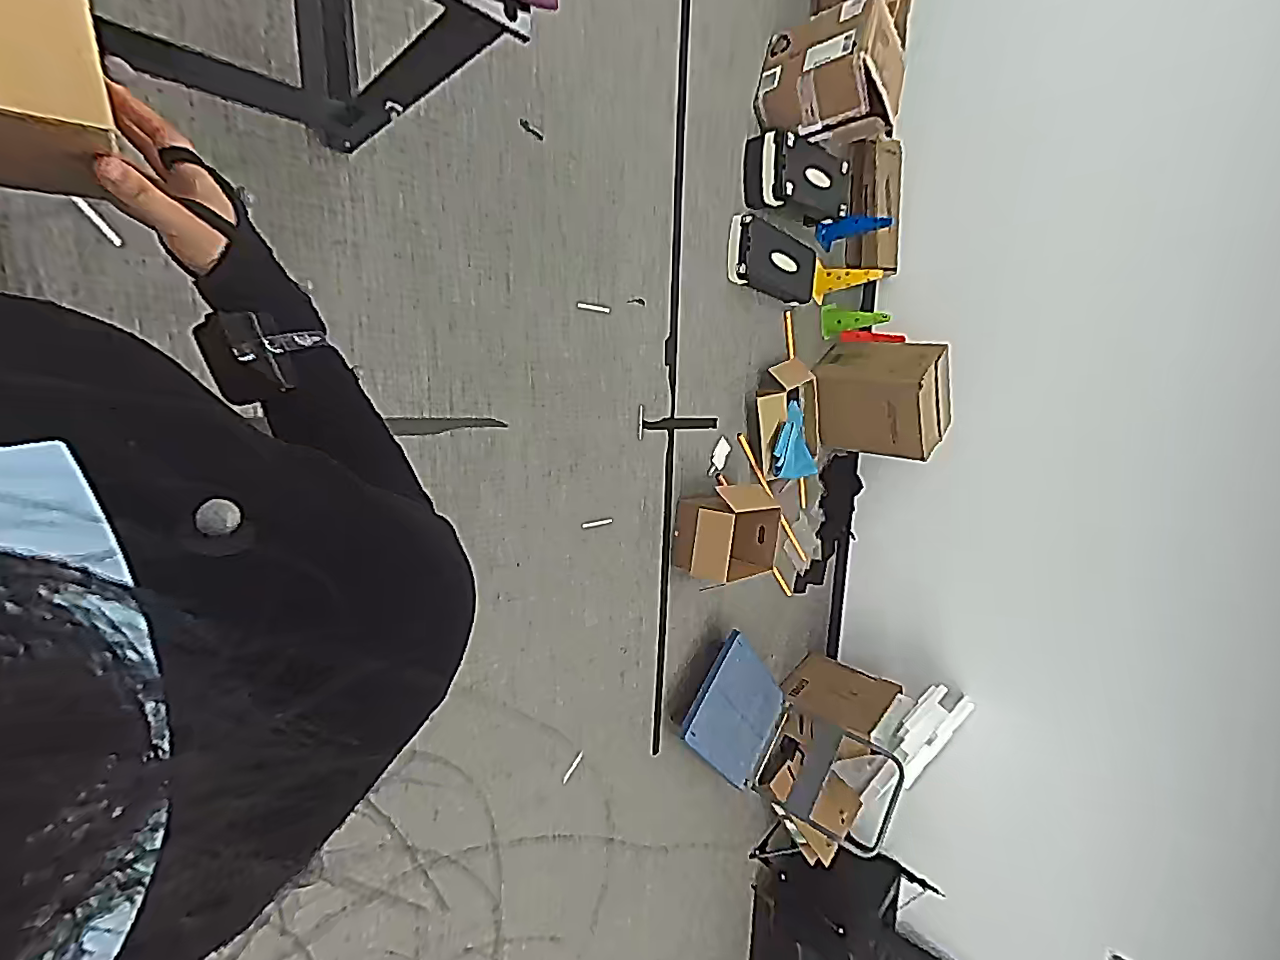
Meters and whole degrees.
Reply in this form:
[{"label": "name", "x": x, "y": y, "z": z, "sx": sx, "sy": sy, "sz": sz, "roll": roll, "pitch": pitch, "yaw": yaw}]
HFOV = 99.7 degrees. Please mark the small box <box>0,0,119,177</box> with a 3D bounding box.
[{"label": "small box", "x": -0.410, "y": -0.282, "z": 0.288, "sx": 0.179, "sy": 0.176, "sz": 0.168, "roll": -11, "pitch": 105, "yaw": -40}]
